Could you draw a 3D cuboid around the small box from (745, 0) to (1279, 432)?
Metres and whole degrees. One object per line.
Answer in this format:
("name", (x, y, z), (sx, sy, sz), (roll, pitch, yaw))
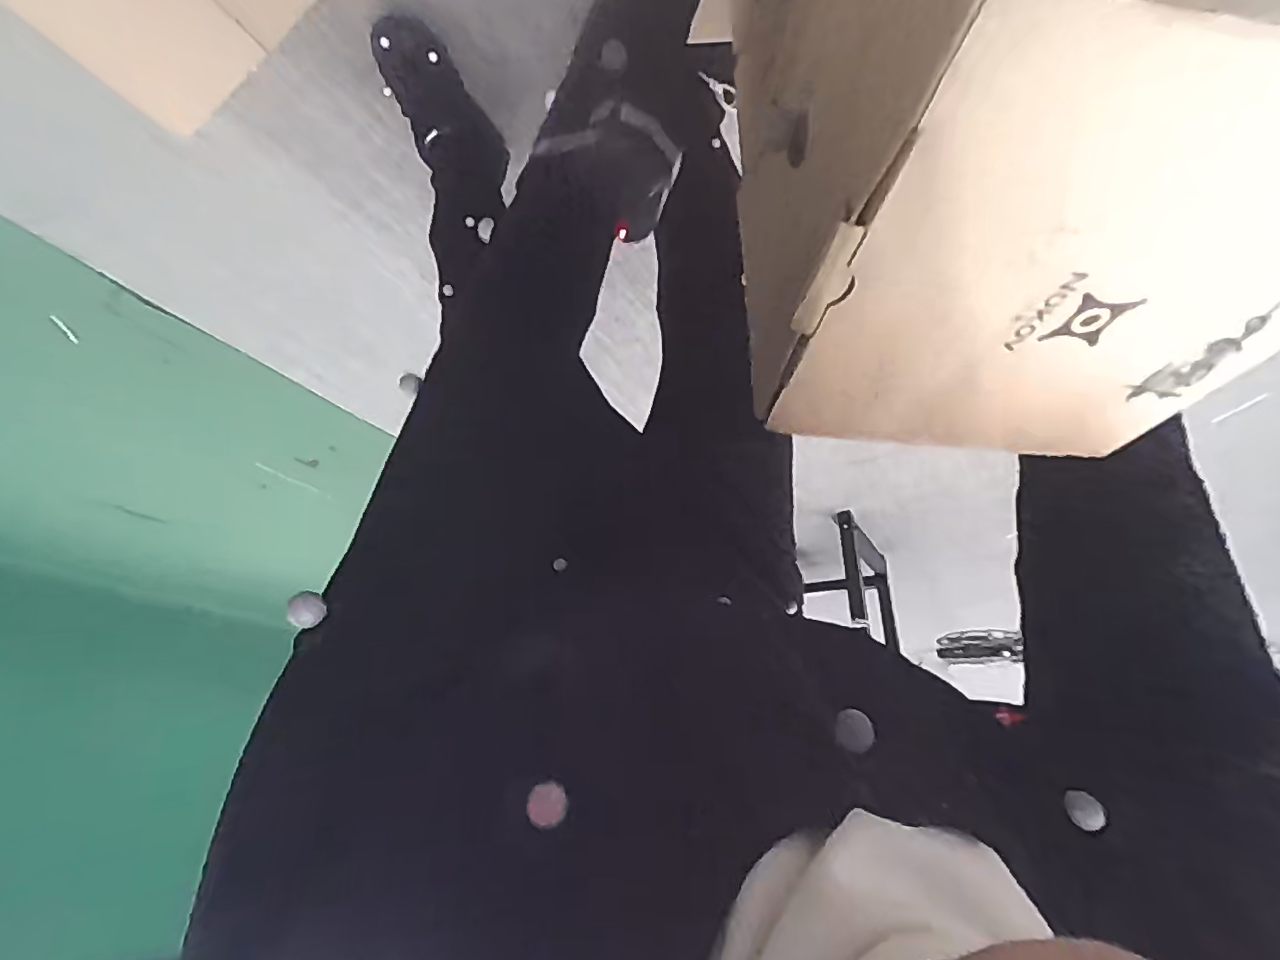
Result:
("small box", (0.148, -0.141, 0.227), (0.179, 0.176, 0.168), (3, 149, -2))

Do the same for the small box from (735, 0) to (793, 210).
("small box", (0.161, -0.274, 0.319), (0.168, 0.176, 0.179), (7, 152, -6))
